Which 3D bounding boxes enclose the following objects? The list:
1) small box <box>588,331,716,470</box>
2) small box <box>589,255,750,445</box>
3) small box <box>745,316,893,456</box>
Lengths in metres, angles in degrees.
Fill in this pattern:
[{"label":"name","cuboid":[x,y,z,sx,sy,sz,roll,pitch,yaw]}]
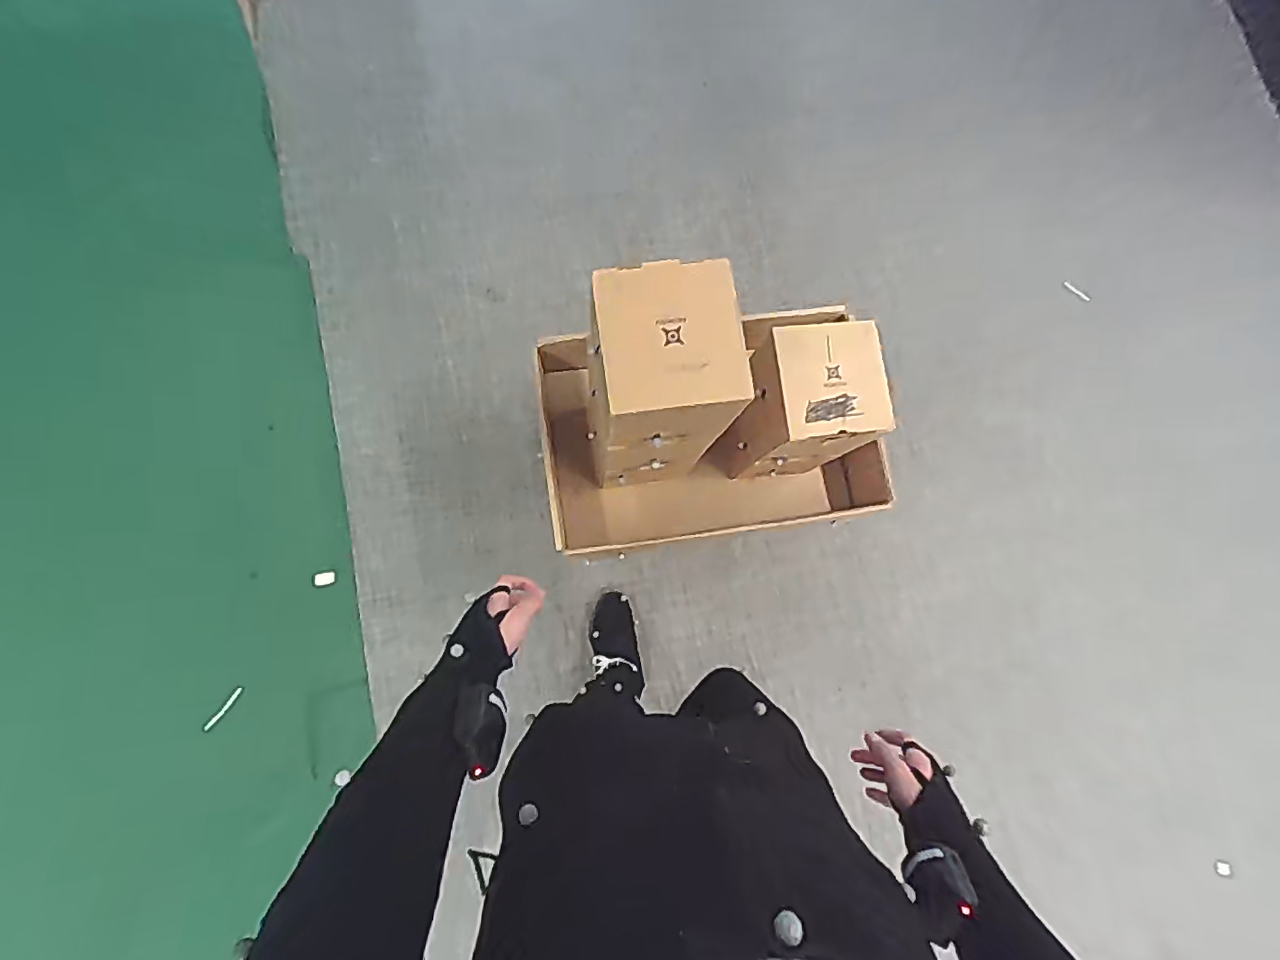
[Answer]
[{"label":"small box","cuboid":[0.009,-0.125,0.842,0.168,0.176,0.179,-8,80,-5]},{"label":"small box","cuboid":[0.024,-0.154,0.682,0.168,0.176,0.179,-7,81,-5]},{"label":"small box","cuboid":[0.273,-0.140,0.869,0.168,0.176,0.179,-6,80,-6]}]
